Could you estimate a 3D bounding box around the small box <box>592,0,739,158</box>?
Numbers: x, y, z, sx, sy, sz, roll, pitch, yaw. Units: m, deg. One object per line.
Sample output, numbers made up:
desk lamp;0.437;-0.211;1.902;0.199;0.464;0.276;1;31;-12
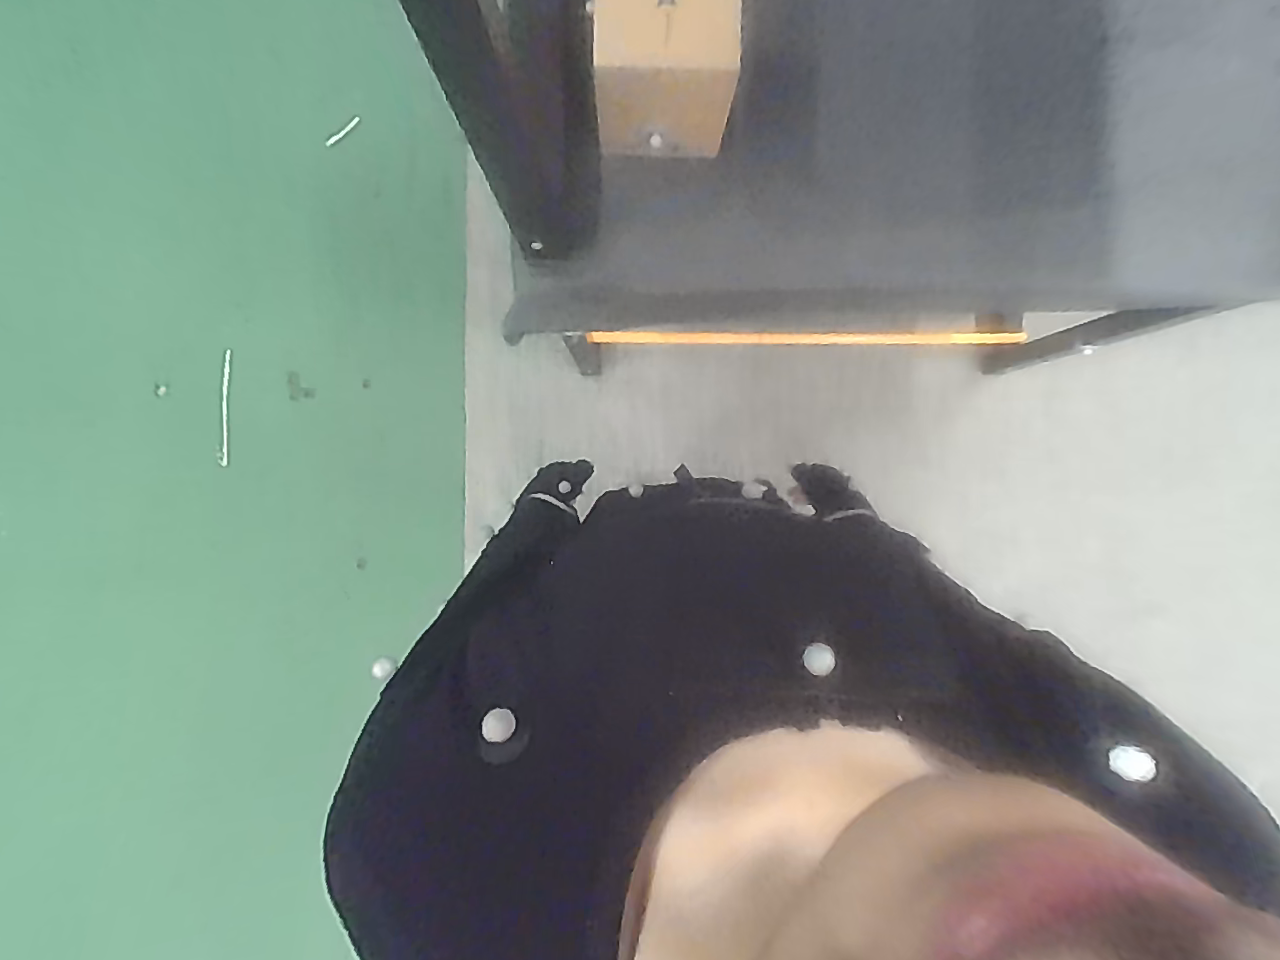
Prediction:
small box;0.027;-0.544;0.681;0.168;0.176;0.179;1;90;-1
